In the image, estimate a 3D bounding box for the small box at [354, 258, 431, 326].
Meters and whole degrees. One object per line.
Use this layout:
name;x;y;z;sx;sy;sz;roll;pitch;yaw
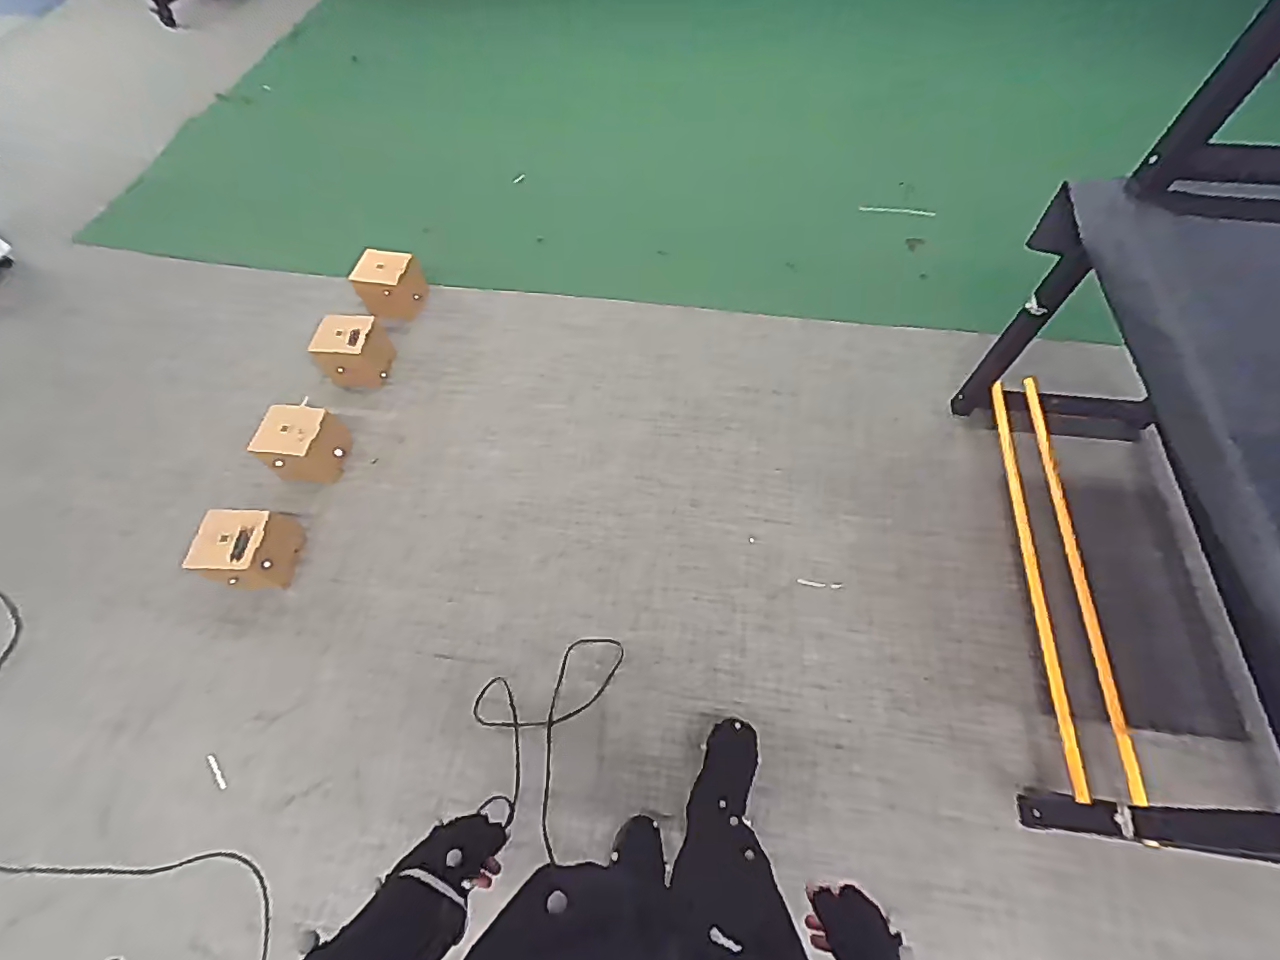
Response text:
small box;-0.902;-0.686;1.984;0.179;0.176;0.168;8;61;5

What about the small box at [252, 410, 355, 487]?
small box;-1.008;-0.090;1.635;0.179;0.176;0.168;6;61;4

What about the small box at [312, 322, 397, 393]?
small box;-0.952;-0.410;1.823;0.179;0.176;0.168;3;60;4
